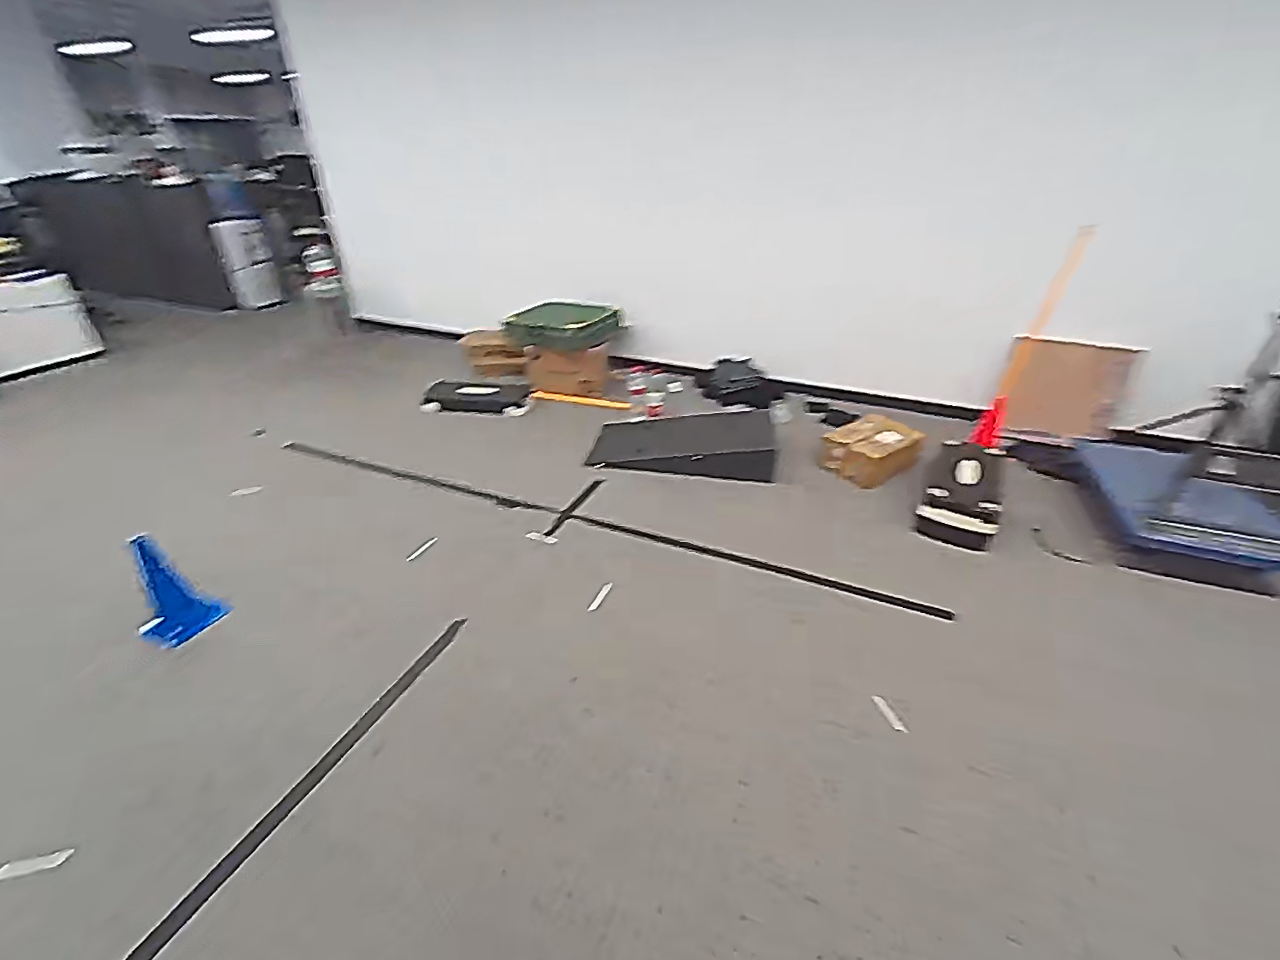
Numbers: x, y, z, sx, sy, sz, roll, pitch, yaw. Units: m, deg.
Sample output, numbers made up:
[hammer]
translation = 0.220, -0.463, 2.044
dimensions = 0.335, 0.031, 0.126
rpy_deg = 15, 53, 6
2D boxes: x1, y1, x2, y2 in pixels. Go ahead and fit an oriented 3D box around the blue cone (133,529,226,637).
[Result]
[blue cone]
translation = -1.582, 0.327, 1.806
dimensions = 0.192, 0.380, 0.193
rpy_deg = 13, 33, 21
